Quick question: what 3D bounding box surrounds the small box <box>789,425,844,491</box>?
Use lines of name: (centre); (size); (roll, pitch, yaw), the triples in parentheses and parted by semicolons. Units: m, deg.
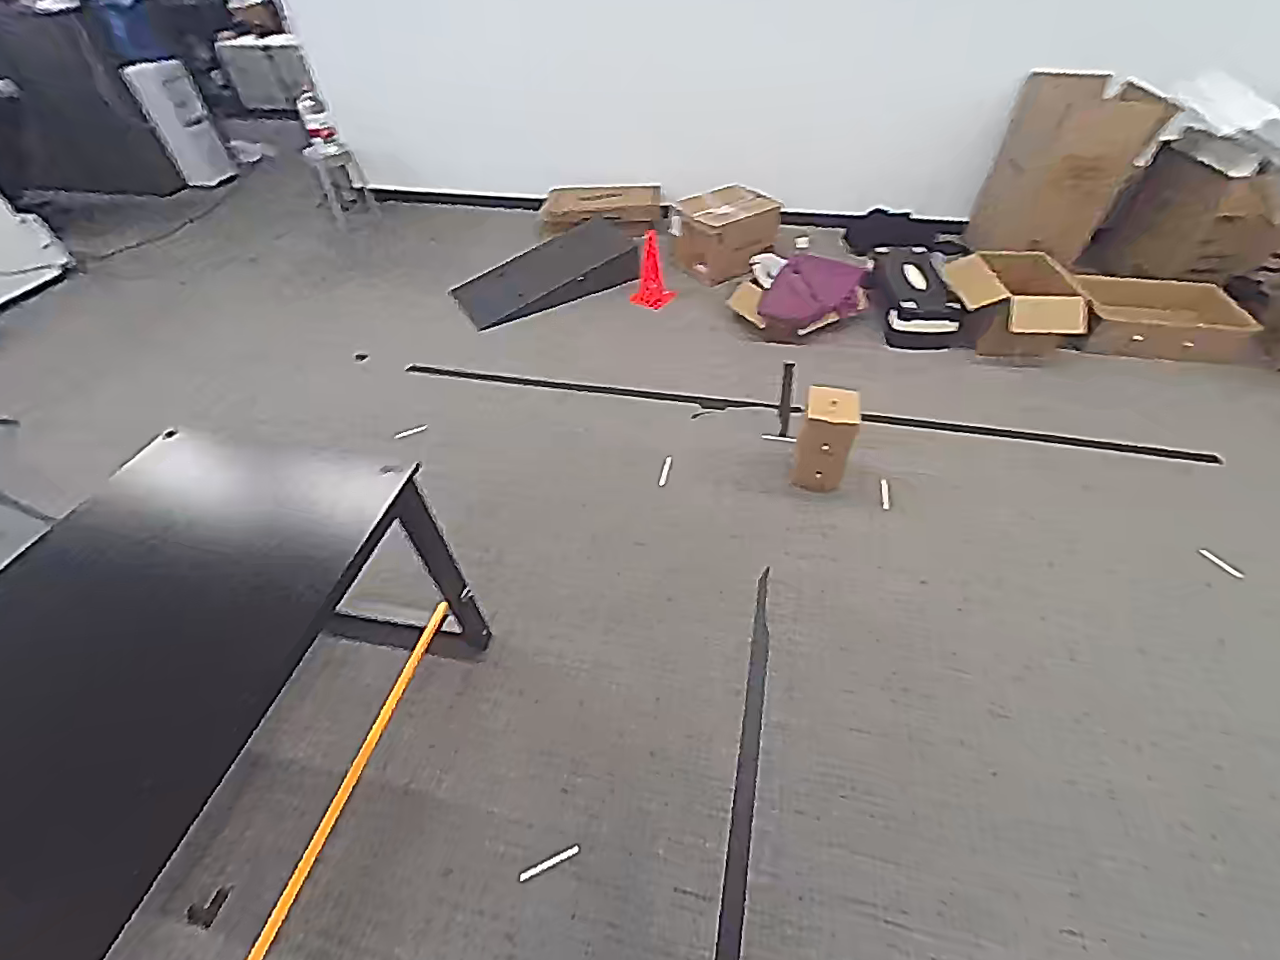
small box: (0.646, -0.081, 1.983); (0.168, 0.176, 0.179); (8, 49, 10)

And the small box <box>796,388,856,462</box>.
small box: (0.636, -0.189, 1.858); (0.168, 0.176, 0.179); (9, 49, 11)
